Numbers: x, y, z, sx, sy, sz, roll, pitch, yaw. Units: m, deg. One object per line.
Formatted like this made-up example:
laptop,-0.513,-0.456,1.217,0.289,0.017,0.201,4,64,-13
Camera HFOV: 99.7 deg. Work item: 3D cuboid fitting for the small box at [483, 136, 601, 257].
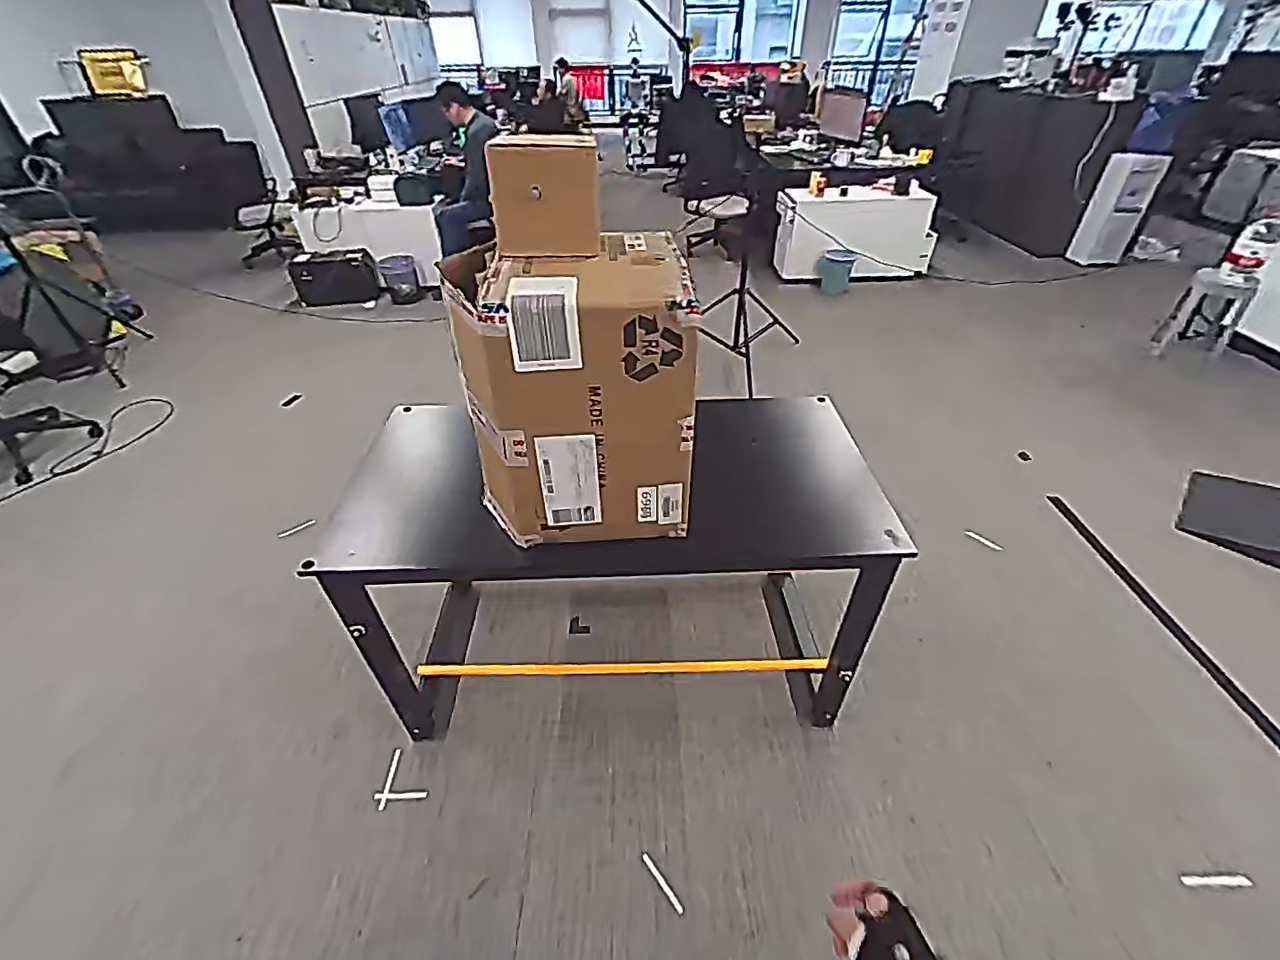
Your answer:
small box,-0.162,-0.499,0.951,0.179,0.176,0.168,-3,37,-4
